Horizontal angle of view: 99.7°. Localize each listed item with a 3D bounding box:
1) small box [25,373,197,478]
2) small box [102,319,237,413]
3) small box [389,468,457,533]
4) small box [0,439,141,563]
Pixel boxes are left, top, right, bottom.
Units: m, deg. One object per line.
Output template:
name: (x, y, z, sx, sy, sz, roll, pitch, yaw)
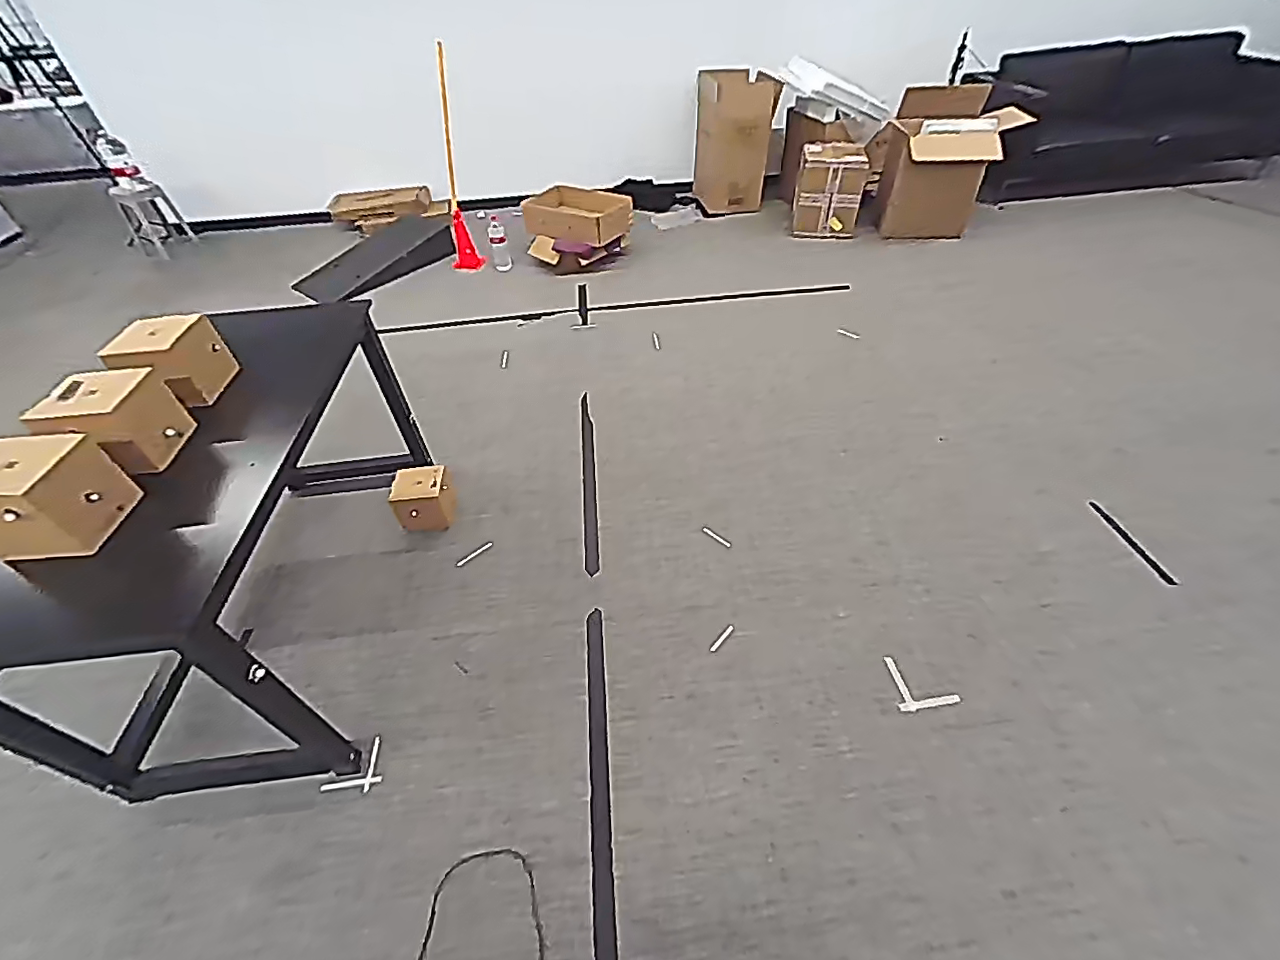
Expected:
small box: (-1.147, -0.114, 1.192, 0.179, 0.176, 0.168, -6, 44, -4)
small box: (-1.173, -0.285, 1.371, 0.168, 0.176, 0.179, -8, 45, -2)
small box: (-0.801, 0.080, 2.011, 0.179, 0.176, 0.168, -7, 45, -3)
small box: (-1.130, 0.042, 1.032, 0.179, 0.176, 0.168, -4, 44, 0)
